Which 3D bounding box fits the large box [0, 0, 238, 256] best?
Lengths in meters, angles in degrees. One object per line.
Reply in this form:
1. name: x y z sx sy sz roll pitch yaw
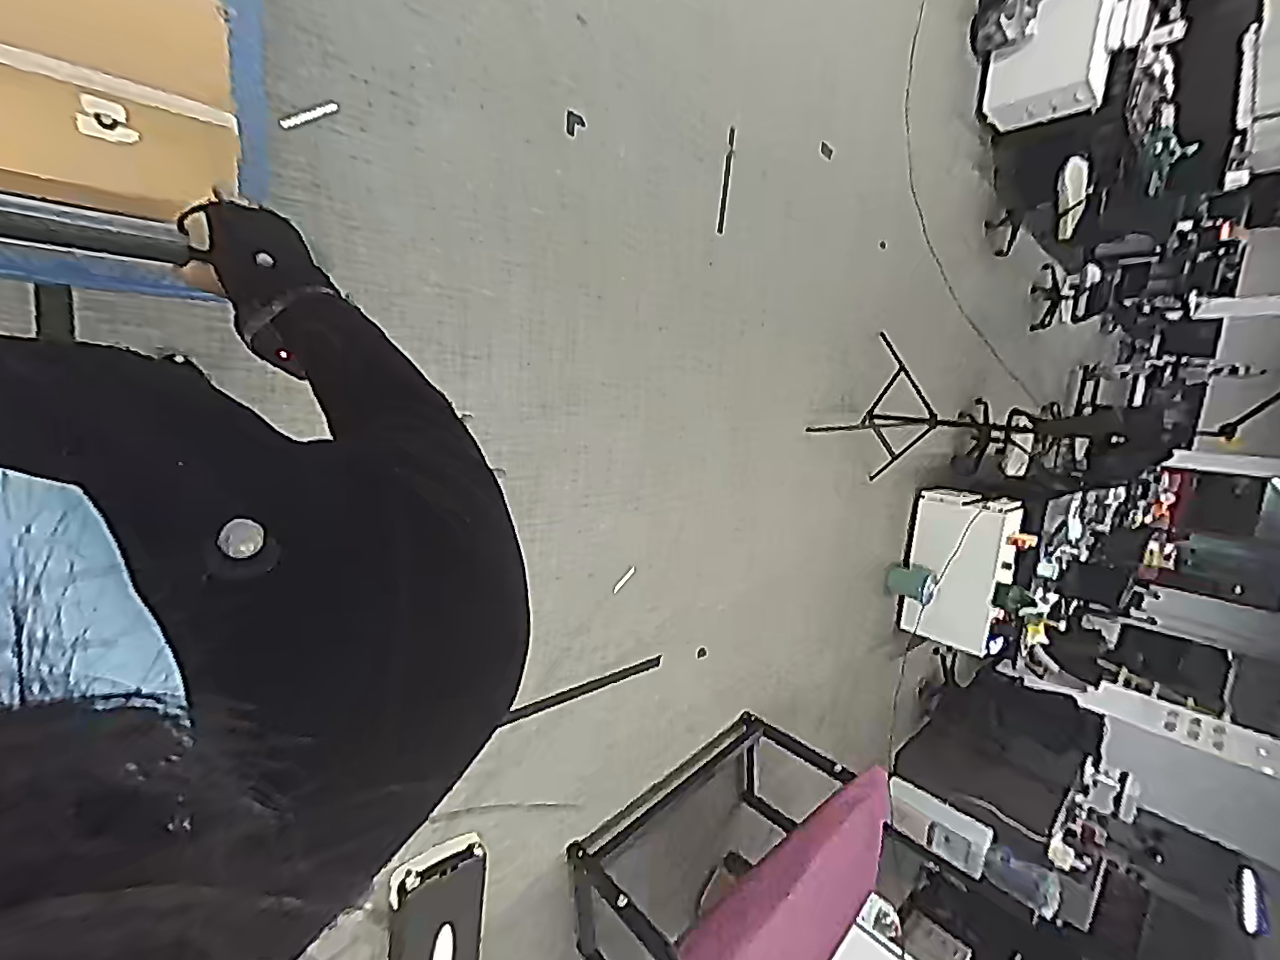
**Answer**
1. large box: -0.852 -0.536 0.767 0.408 0.320 0.320 -6 104 -43
